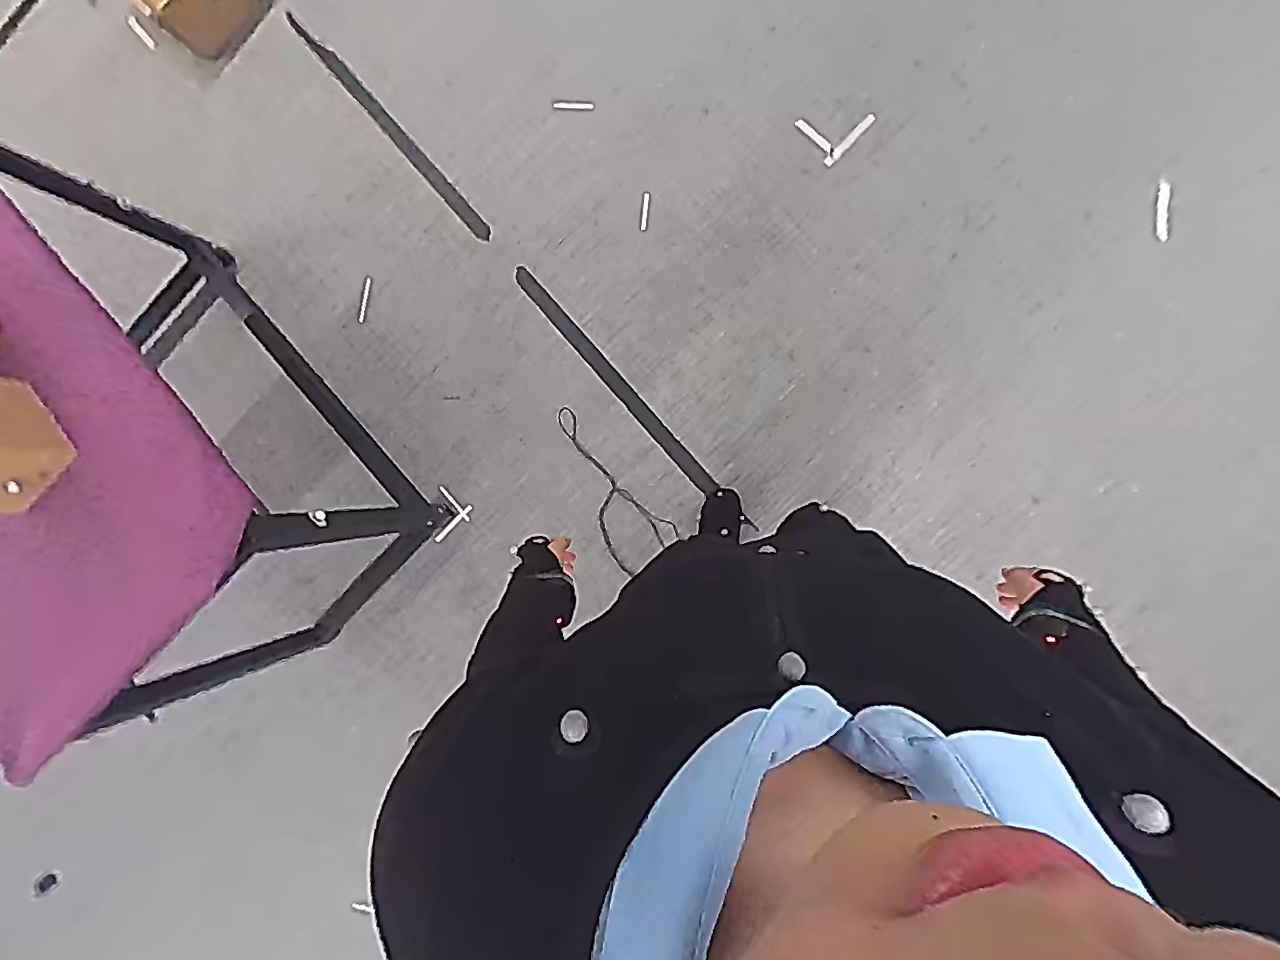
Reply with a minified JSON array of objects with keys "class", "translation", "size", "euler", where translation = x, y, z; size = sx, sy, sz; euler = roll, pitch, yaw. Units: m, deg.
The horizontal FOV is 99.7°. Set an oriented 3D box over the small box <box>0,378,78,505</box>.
[{"class":"small box","translation":[-1.112,-0.066,0.892],"size":[0.168,0.176,0.179],"euler":[-42,83,7]}]
